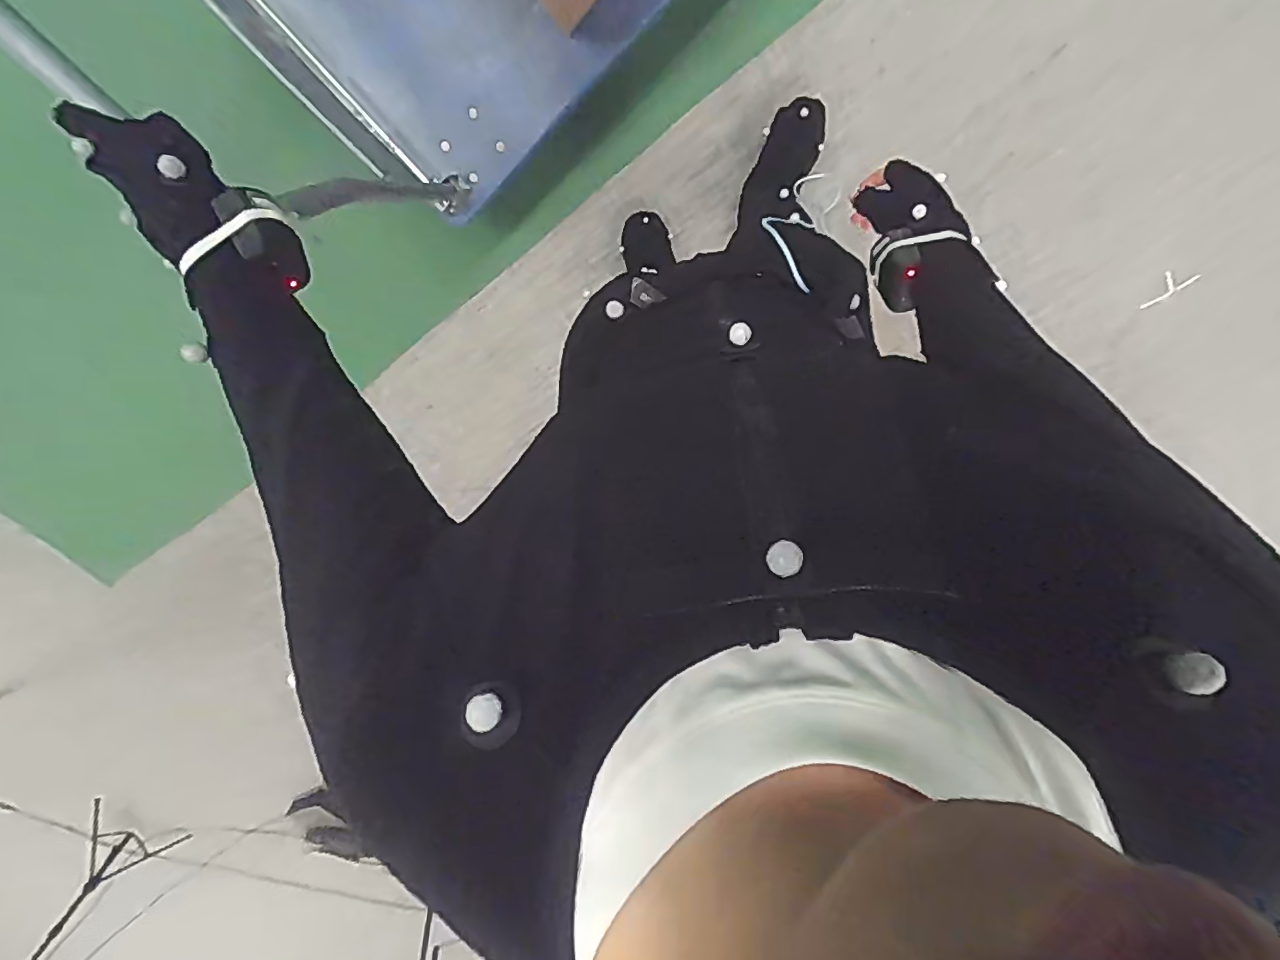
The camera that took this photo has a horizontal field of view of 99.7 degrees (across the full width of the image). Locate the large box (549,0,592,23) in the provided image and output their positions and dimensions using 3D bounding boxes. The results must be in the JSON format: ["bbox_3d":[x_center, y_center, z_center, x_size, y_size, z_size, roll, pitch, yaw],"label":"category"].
[{"bbox_3d":[-0.159,-0.932,0.700,0.320,0.320,0.408,-40,111,21],"label":"large box"}]
